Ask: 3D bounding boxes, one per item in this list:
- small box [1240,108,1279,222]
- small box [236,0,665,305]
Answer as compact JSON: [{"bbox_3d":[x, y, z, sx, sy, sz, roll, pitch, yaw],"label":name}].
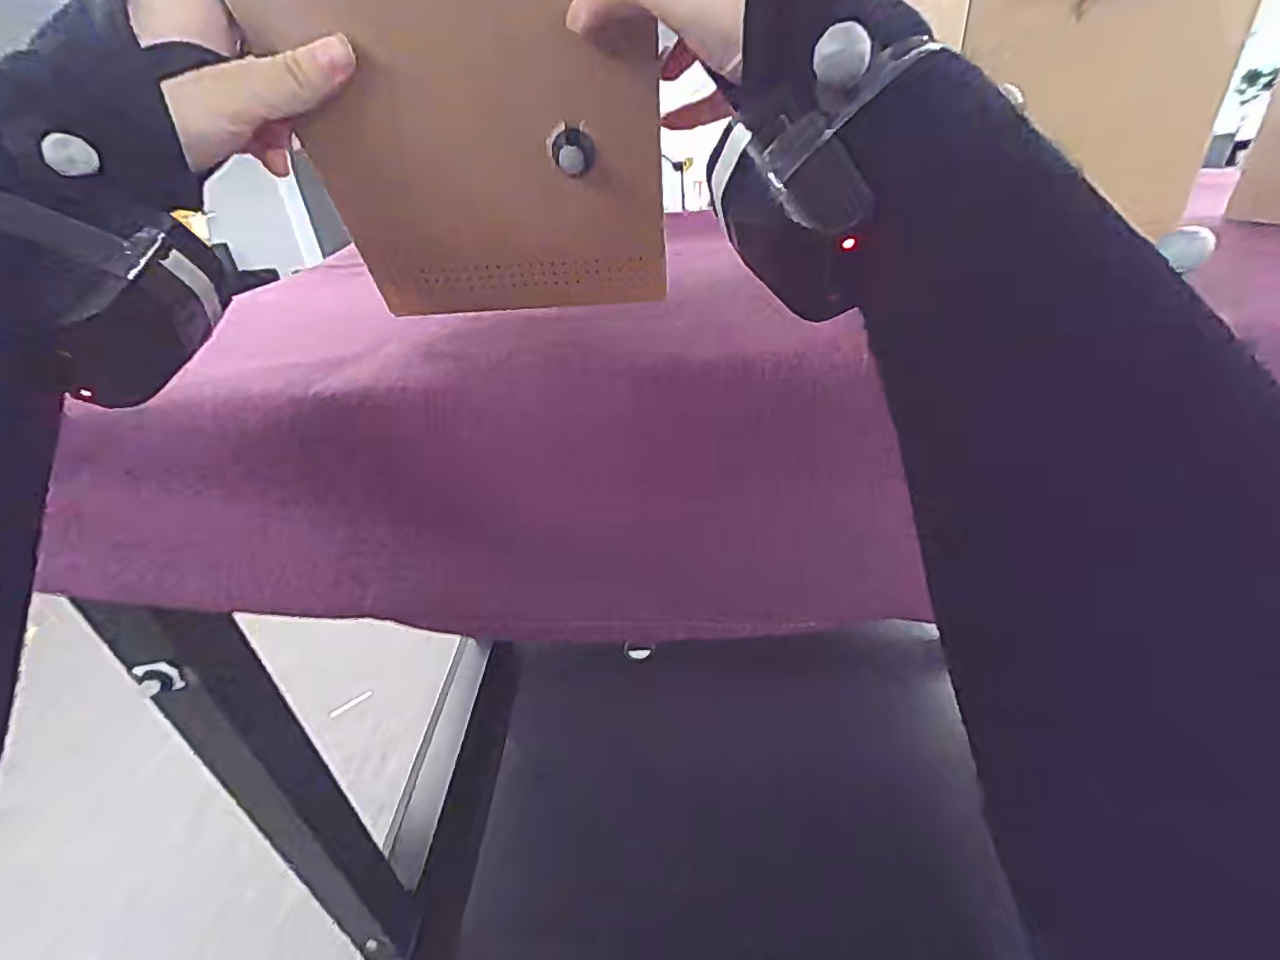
[{"bbox_3d":[0.579,-0.261,0.352,0.168,0.176,0.179,-3,30,6],"label":"small box"},{"bbox_3d":[-0.074,-0.221,0.314,0.179,0.176,0.168,-2,53,3],"label":"small box"}]
